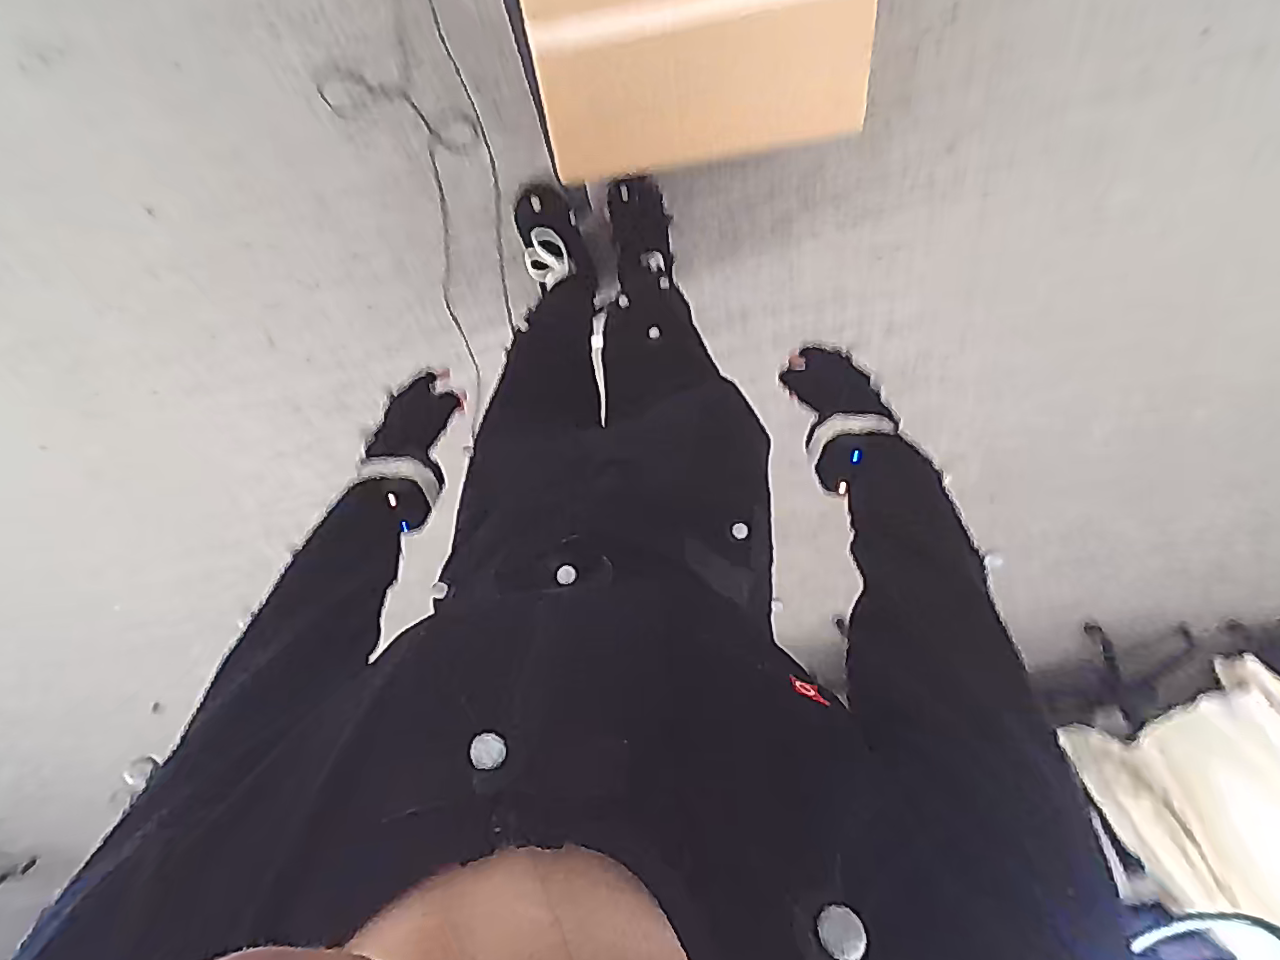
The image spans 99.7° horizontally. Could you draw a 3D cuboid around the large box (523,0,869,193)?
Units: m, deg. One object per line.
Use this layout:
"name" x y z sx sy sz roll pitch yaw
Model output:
"large box" 0.065 -0.635 0.746 0.408 0.320 0.320 -8 129 4
